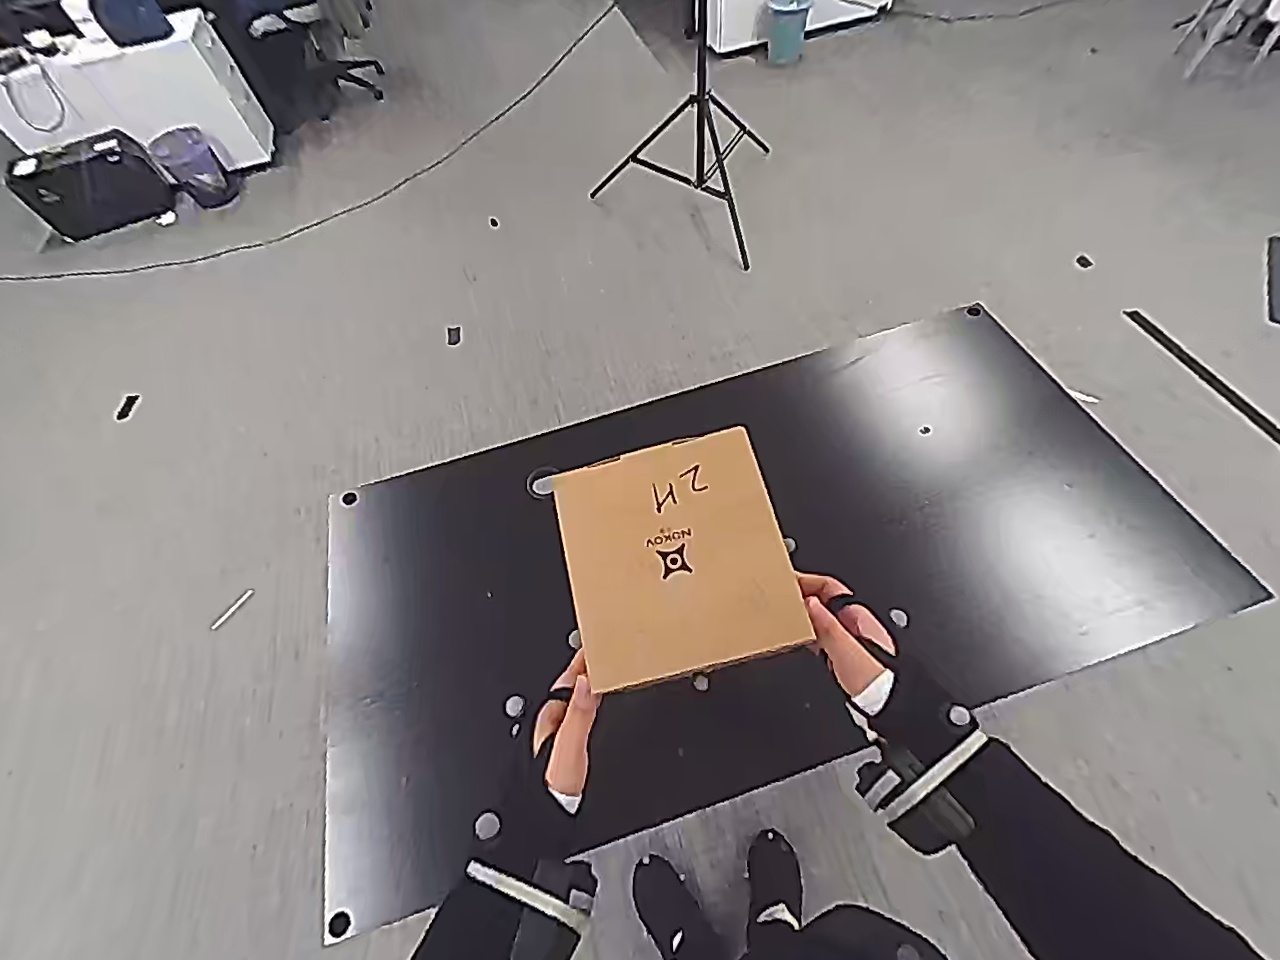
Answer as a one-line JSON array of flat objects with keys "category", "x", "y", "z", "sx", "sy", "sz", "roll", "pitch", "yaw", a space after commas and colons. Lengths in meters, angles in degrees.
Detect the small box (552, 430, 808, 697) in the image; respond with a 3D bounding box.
[{"category": "small box", "x": 0.034, "y": 0.083, "z": 0.485, "sx": 0.168, "sy": 0.176, "sz": 0.179, "roll": -14, "pitch": 68, "yaw": 1}]
